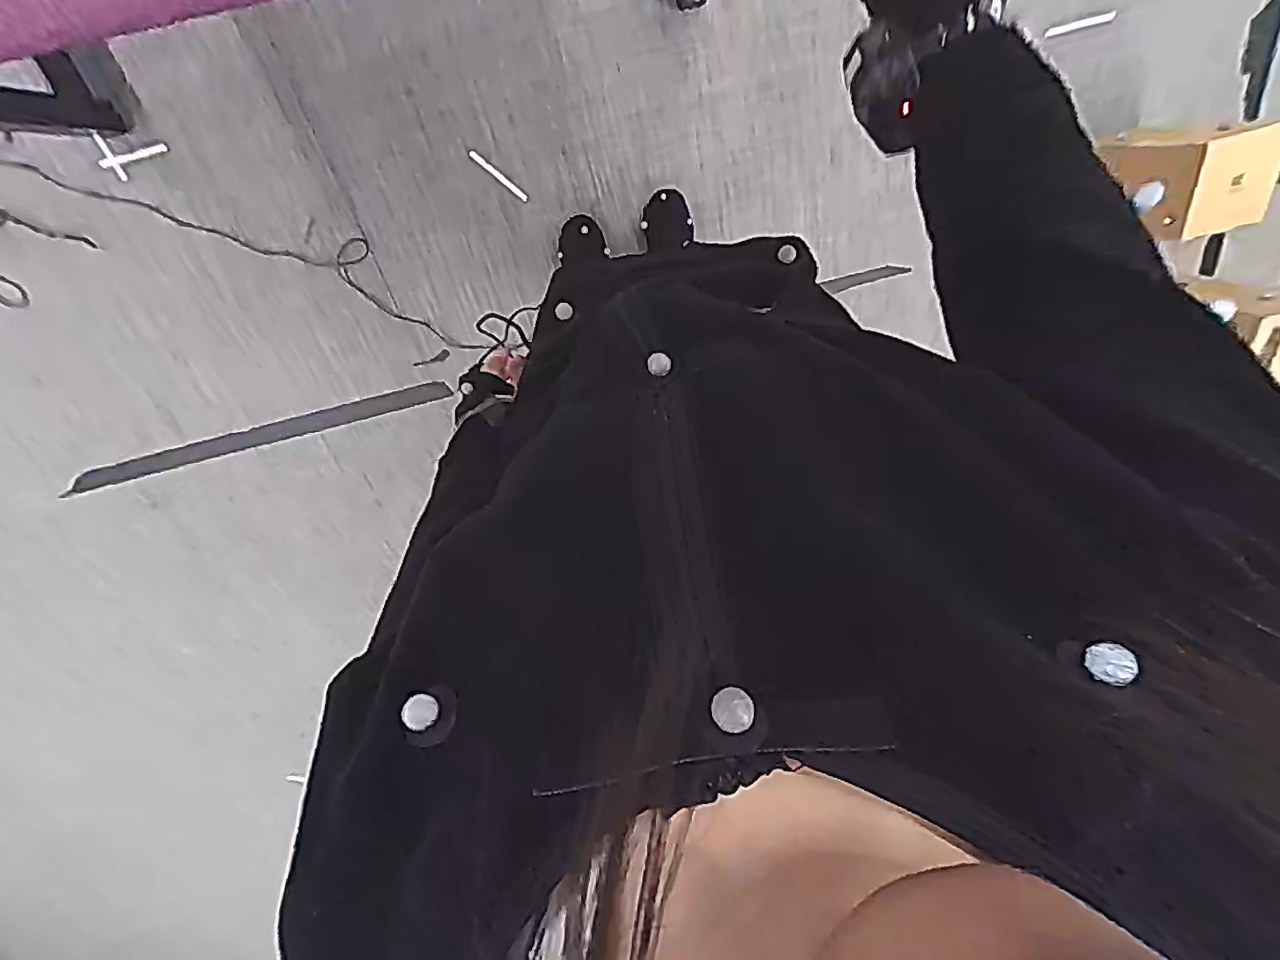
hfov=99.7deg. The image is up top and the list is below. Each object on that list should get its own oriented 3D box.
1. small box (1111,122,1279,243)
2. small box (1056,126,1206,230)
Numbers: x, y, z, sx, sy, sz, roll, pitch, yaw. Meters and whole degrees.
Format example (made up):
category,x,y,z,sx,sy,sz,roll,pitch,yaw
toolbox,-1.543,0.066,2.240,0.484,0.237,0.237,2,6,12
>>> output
category,x,y,z,sx,sy,sz,roll,pitch,yaw
small box,1.109,-0.597,1.090,0.168,0.176,0.179,-15,122,1
small box,1.097,-0.683,1.228,0.179,0.176,0.168,-16,122,0
